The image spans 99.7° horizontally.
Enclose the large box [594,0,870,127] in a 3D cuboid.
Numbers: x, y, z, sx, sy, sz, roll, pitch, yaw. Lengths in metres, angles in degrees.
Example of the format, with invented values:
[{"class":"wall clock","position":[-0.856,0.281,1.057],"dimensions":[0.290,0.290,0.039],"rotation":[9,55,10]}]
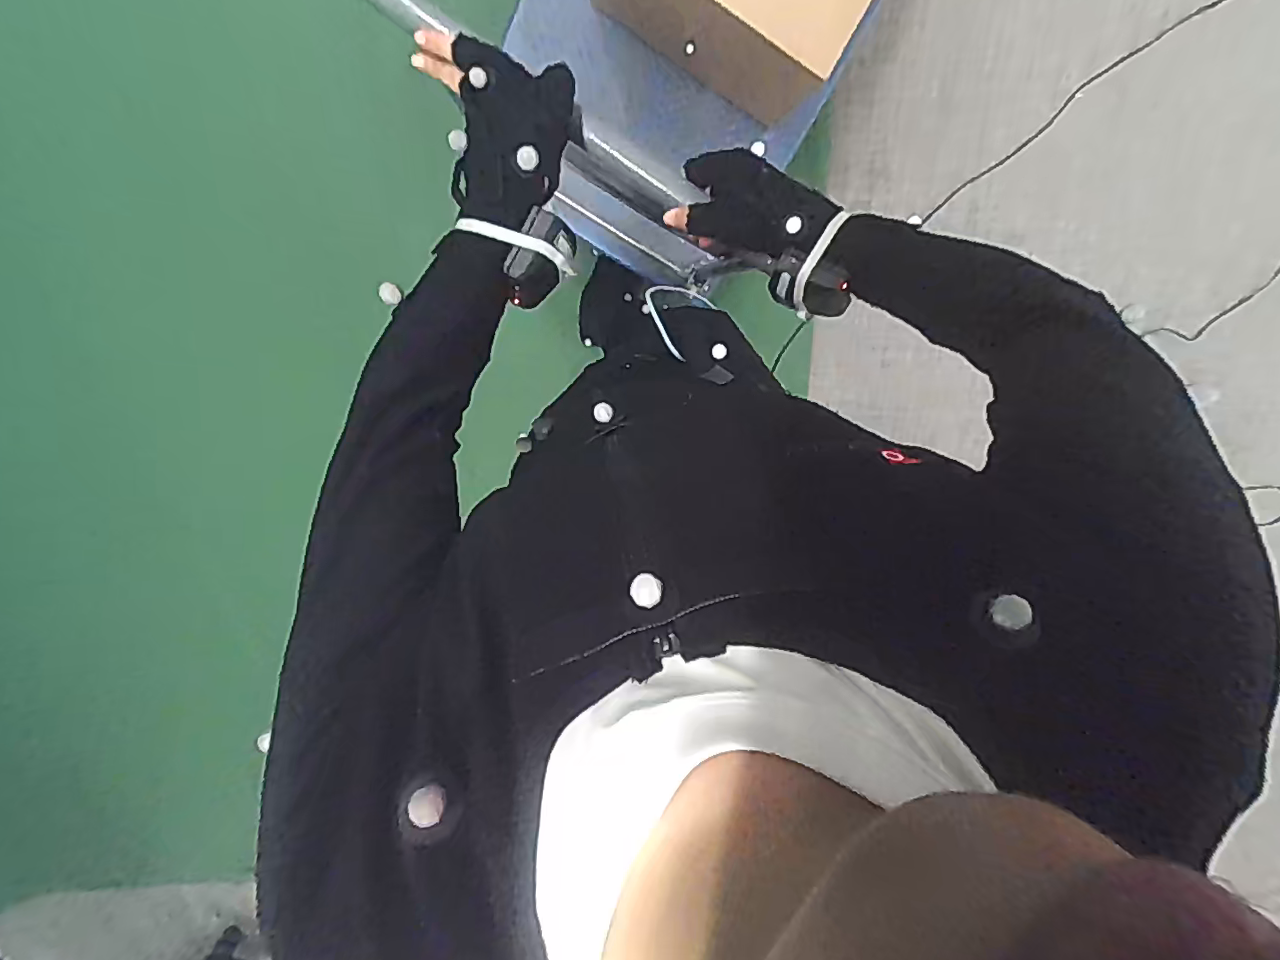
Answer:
[{"class":"large box","position":[0.164,-0.845,0.849],"dimensions":[0.408,0.320,0.320],"rotation":[27,108,-11]}]
